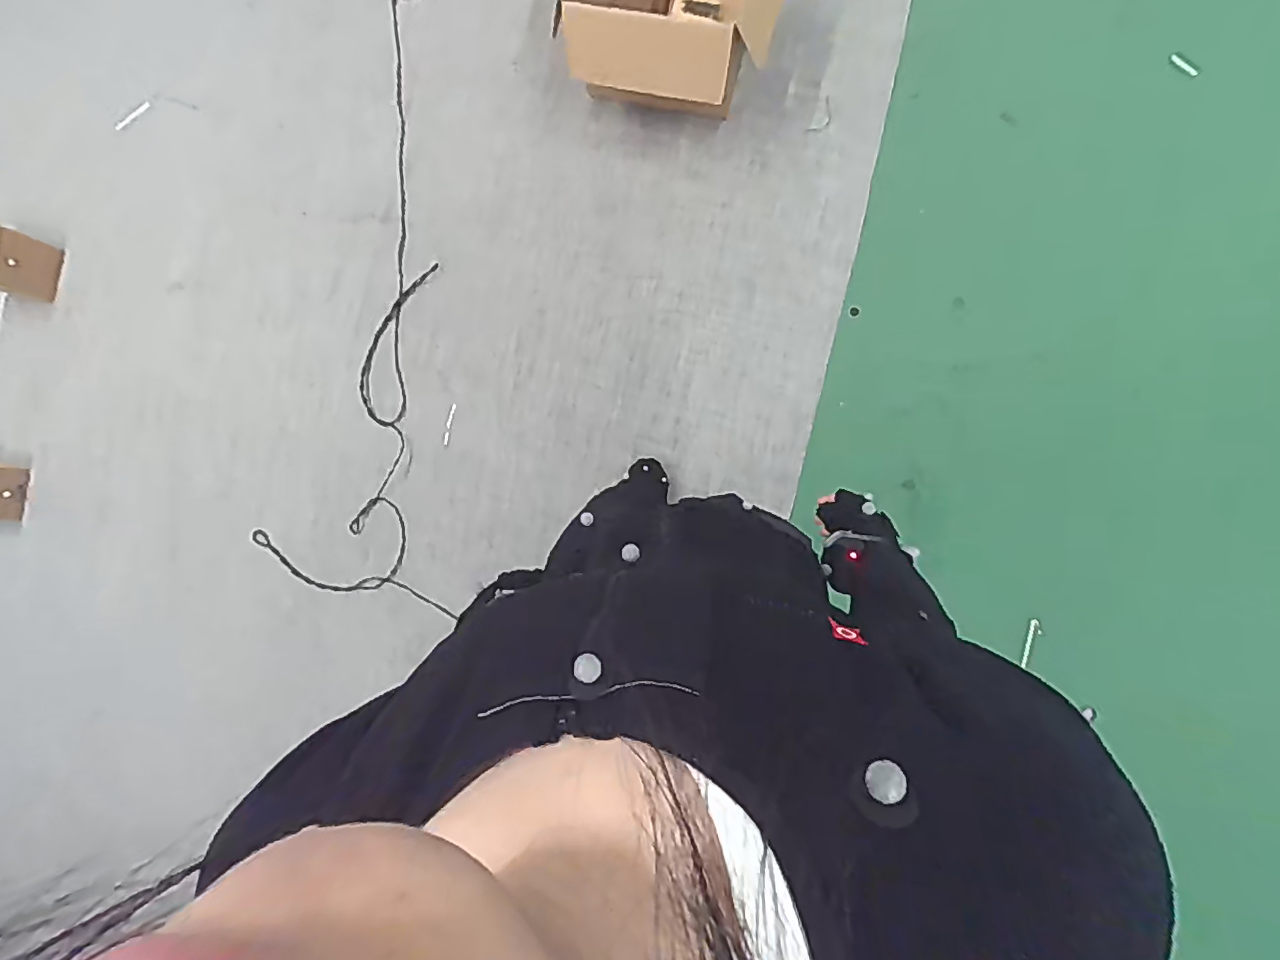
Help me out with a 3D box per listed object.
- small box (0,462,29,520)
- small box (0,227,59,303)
[{"bbox_3d":[-2.008,0.030,1.612,0.179,0.176,0.168,11,92,5],"label":"small box"},{"bbox_3d":[-1.888,-0.645,1.596,0.168,0.176,0.179,12,92,5],"label":"small box"}]
